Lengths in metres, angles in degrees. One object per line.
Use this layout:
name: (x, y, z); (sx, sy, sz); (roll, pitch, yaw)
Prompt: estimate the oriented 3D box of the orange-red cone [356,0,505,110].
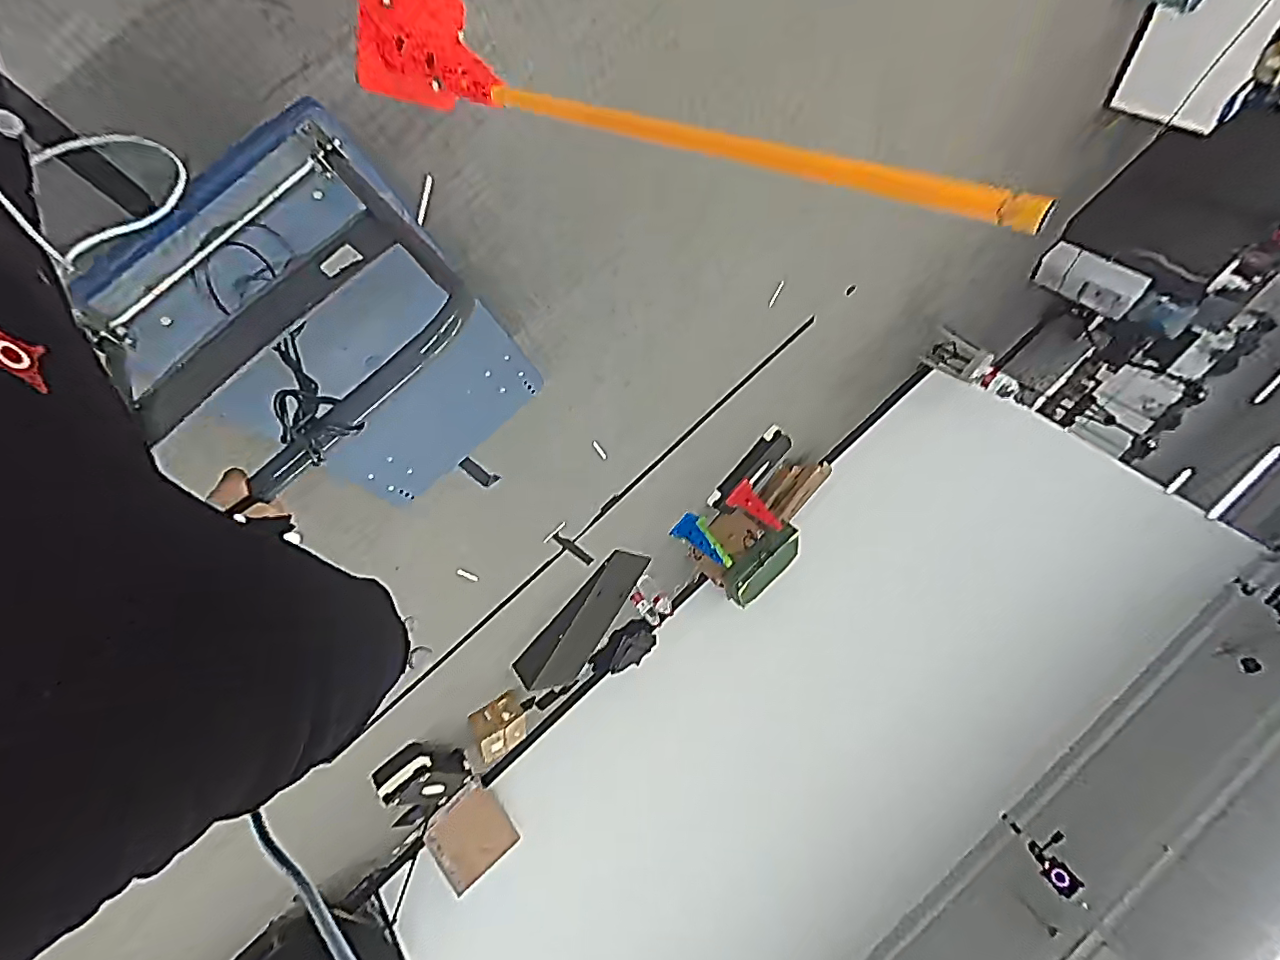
orange-red cone: (-0.344, -0.747, 0.979); (0.198, 0.360, 0.199); (-14, 141, -42)
